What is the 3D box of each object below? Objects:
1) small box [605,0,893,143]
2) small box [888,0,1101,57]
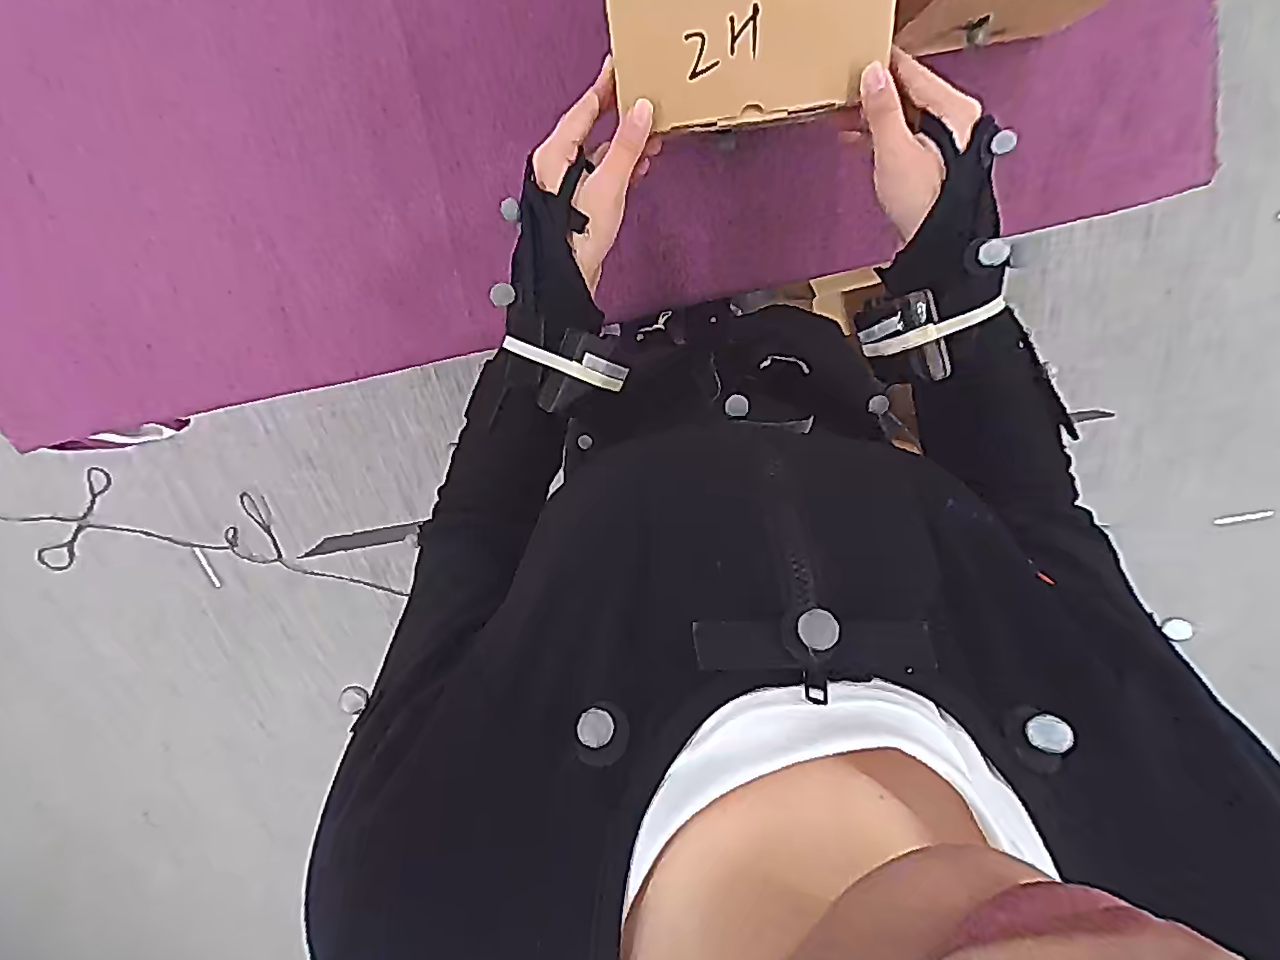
[{"bbox_3d":[0.058,-0.341,0.362,0.168,0.176,0.179,-6,120,4],"label":"small box"},{"bbox_3d":[0.269,-0.432,0.368,0.168,0.176,0.179,-7,113,4],"label":"small box"}]
